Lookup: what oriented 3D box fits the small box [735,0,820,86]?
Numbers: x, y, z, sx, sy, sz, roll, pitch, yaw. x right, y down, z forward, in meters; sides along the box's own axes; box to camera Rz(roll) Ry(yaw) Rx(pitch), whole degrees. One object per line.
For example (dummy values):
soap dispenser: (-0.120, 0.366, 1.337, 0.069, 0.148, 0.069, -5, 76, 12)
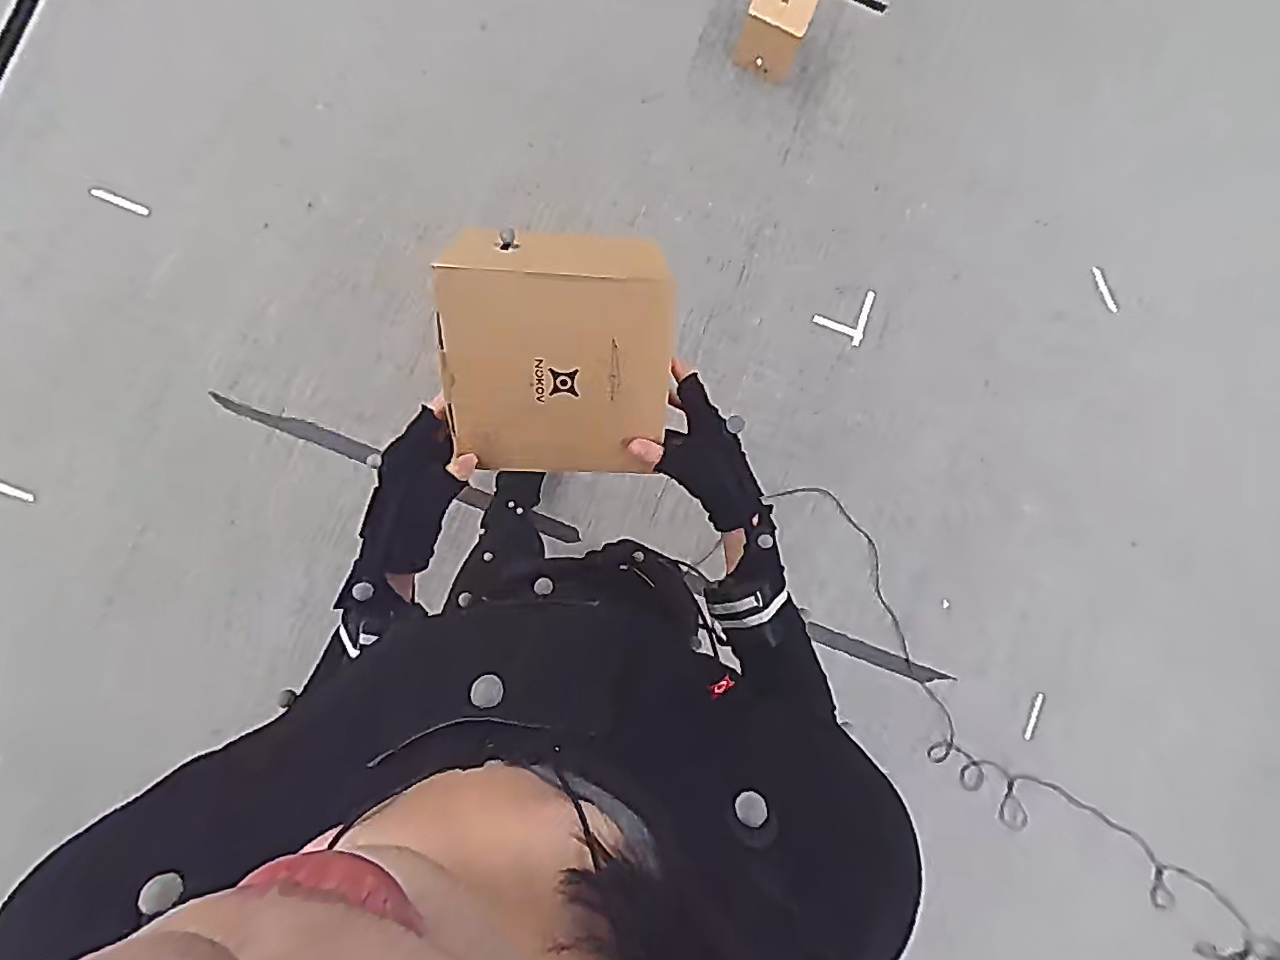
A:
small box: (0.388, -1.292, 1.543, 0.168, 0.176, 0.179, 23, 87, -3)
